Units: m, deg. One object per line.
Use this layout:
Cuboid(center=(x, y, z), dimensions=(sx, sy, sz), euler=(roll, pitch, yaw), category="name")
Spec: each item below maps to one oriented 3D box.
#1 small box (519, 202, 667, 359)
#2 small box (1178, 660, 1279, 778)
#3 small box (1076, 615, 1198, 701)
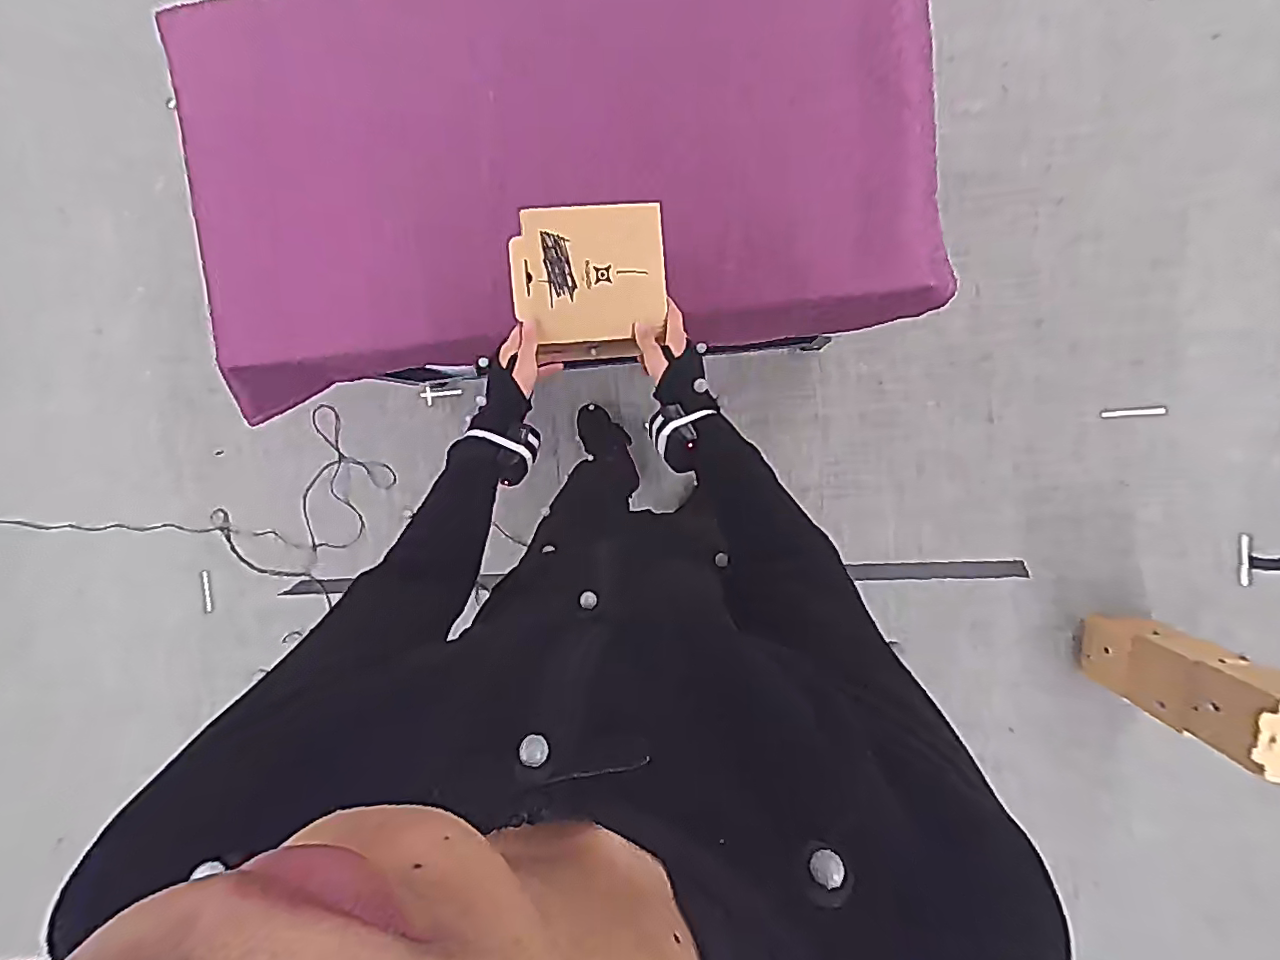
Cuboid(center=(-0.062, -0.264, 0.751), dimensions=(0.179, 0.176, 0.168), euler=(-5, 96, -5), category="small box")
Cuboid(center=(1.279, 0.485, 1.104), dimensions=(0.179, 0.176, 0.168), euler=(6, 97, 6), category="small box")
Cuboid(center=(1.304, 0.465, 1.433), dimensions=(0.179, 0.176, 0.168), euler=(0, 96, 7), category="small box")
